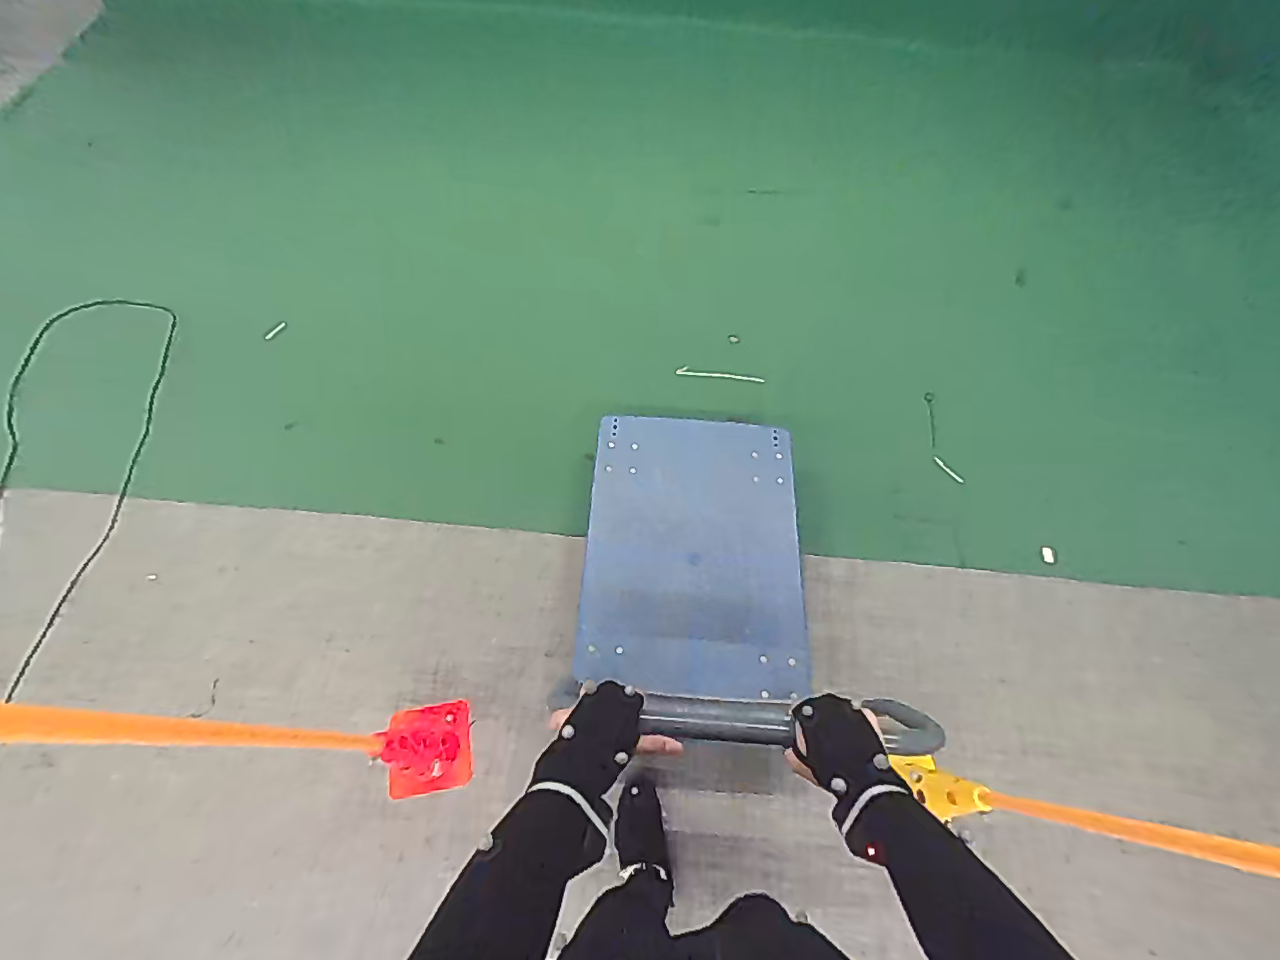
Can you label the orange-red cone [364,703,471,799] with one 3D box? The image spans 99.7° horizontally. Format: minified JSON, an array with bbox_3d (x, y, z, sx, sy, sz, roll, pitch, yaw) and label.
[{"bbox_3d":[-0.521,0.595,1.201,0.199,0.360,0.198,-9,63,-5],"label":"orange-red cone"}]
